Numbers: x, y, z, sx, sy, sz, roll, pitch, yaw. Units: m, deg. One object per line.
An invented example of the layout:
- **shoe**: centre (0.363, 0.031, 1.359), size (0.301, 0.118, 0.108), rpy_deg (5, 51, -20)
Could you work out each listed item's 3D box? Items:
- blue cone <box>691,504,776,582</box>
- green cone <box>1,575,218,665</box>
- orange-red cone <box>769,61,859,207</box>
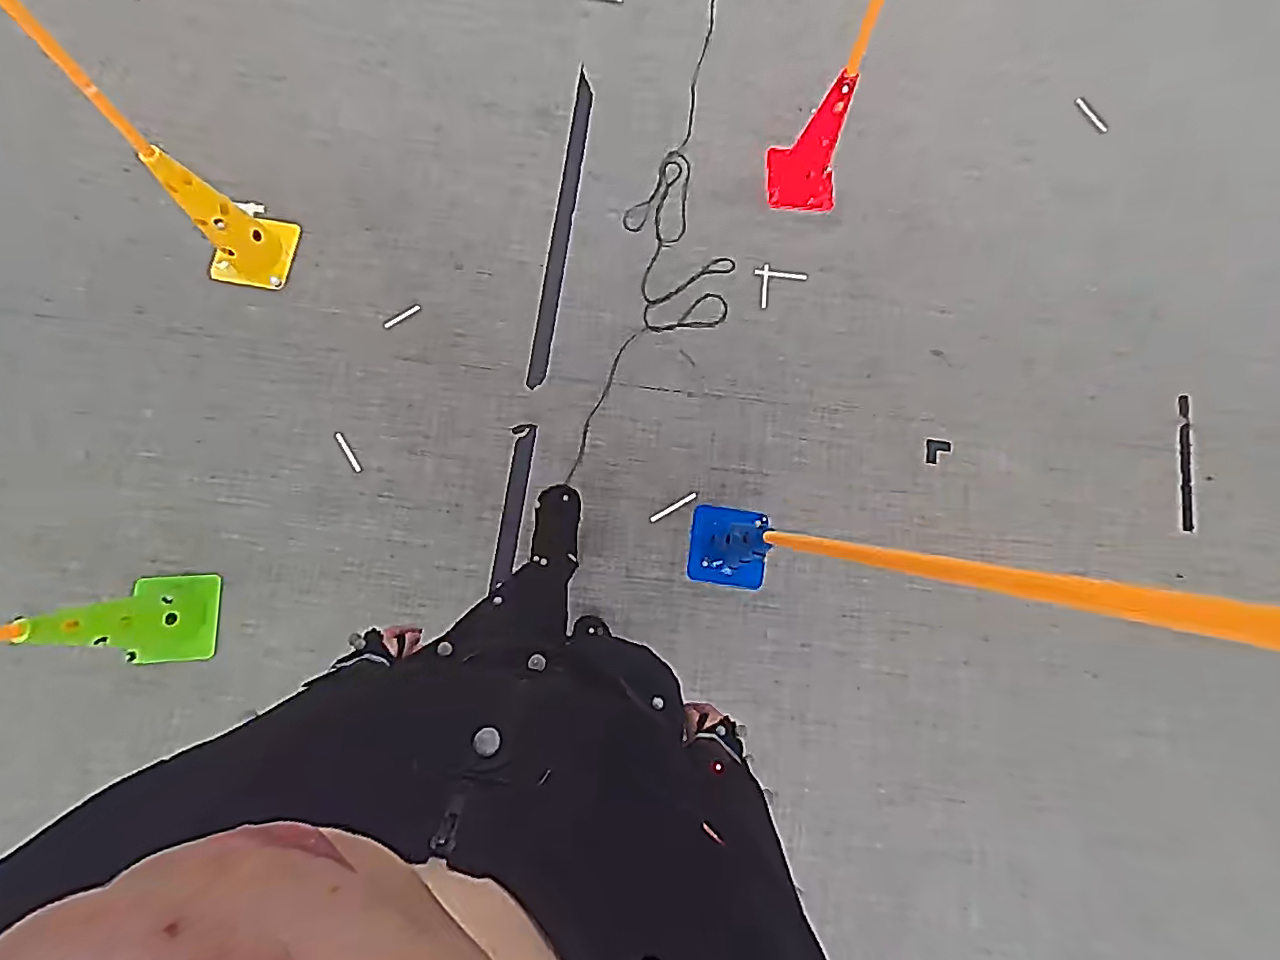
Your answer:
- **blue cone**: centre (0.241, 0.131, 1.245), size (0.193, 0.380, 0.192), rpy_deg (10, 79, -2)
- **green cone**: centre (-1.109, 0.296, 1.123), size (0.200, 0.368, 0.202), rpy_deg (-3, 78, -4)
- **orange-red cone**: centre (0.489, -0.934, 1.440), size (0.199, 0.360, 0.198), rpy_deg (2, 79, -2)
